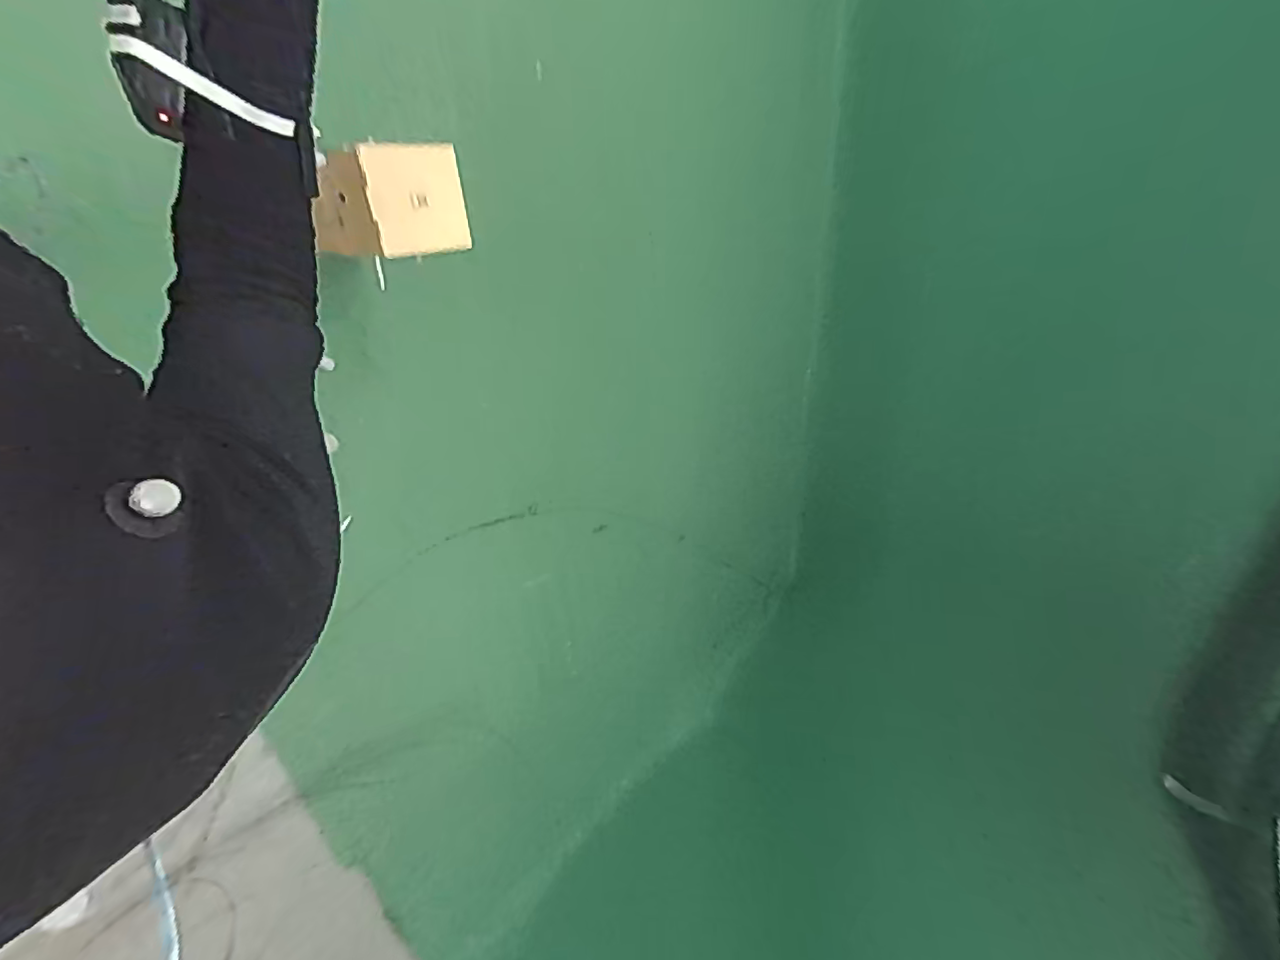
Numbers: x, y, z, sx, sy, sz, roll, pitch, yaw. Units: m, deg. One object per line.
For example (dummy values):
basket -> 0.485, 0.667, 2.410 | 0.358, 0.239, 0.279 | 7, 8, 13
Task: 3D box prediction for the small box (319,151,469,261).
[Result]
small box -> -0.450, -0.506, 0.999 | 0.179, 0.176, 0.168 | -30, 127, -39
